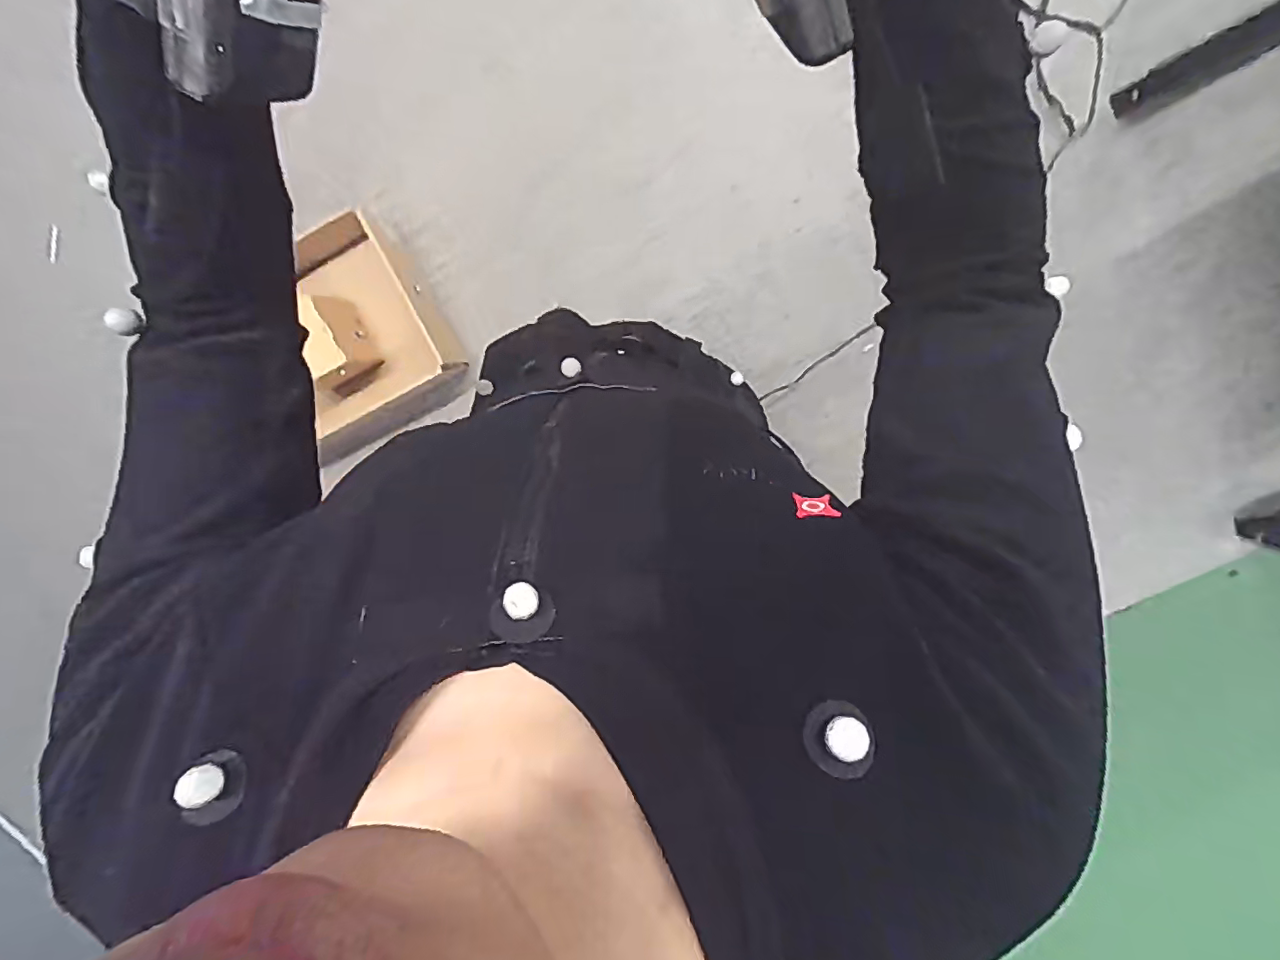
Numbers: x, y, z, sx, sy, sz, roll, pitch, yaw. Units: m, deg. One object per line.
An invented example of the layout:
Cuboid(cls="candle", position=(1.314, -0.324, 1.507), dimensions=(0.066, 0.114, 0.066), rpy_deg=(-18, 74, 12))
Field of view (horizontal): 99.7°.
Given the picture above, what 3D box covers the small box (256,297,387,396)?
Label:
Cuboid(cls="small box", position=(-0.758, -0.318, 1.306), dimensions=(0.179, 0.176, 0.168), rpy_deg=(-26, 100, 10))
